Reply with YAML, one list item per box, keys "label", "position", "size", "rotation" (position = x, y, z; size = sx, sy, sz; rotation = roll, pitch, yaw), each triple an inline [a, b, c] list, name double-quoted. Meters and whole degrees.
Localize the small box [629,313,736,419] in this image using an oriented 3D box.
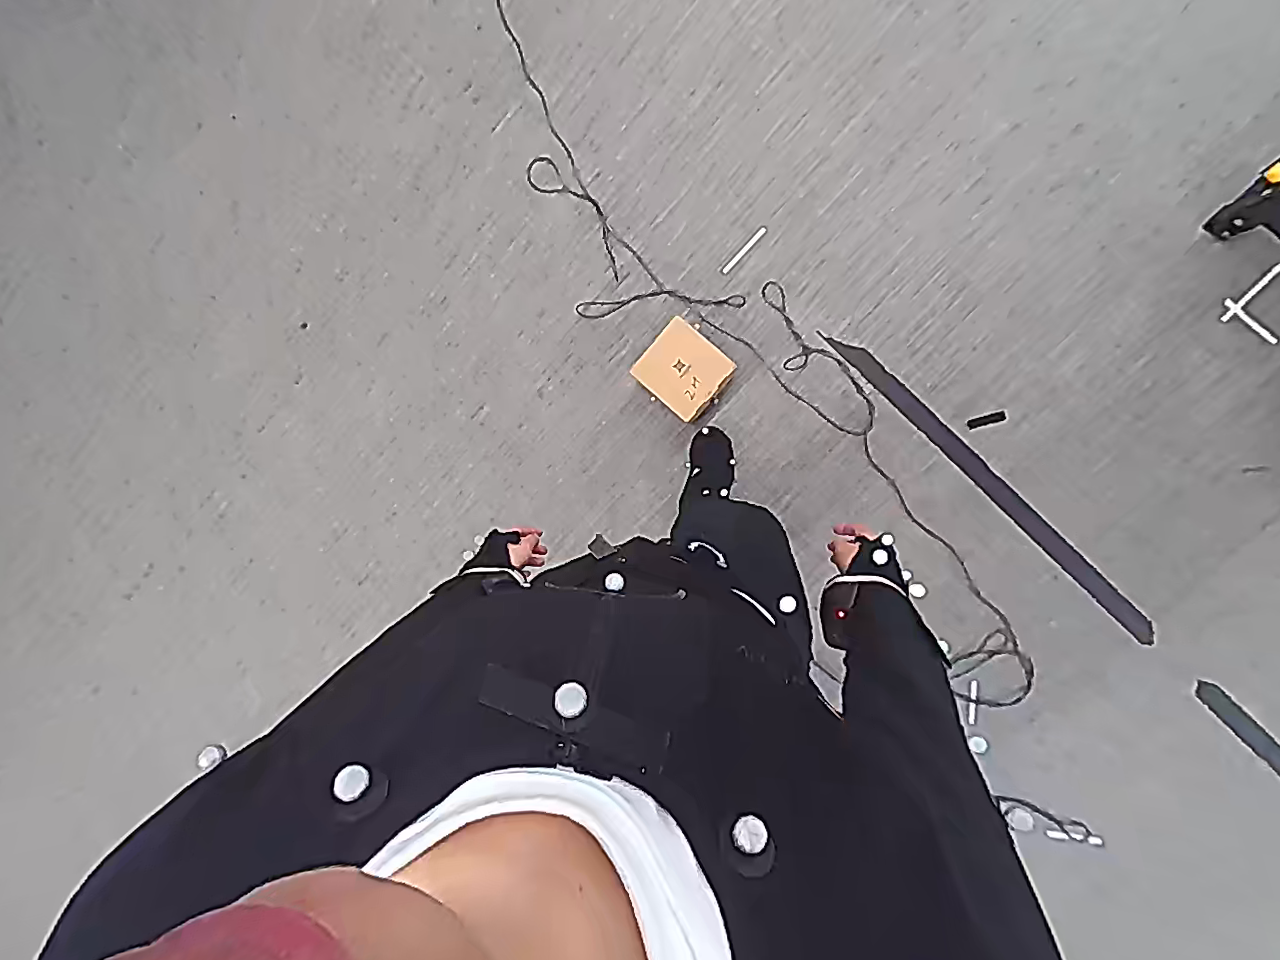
- label: "small box"
  position: [0.100, -0.252, 1.248]
  size: [0.179, 0.176, 0.168]
  rotation: [42, 100, 3]
